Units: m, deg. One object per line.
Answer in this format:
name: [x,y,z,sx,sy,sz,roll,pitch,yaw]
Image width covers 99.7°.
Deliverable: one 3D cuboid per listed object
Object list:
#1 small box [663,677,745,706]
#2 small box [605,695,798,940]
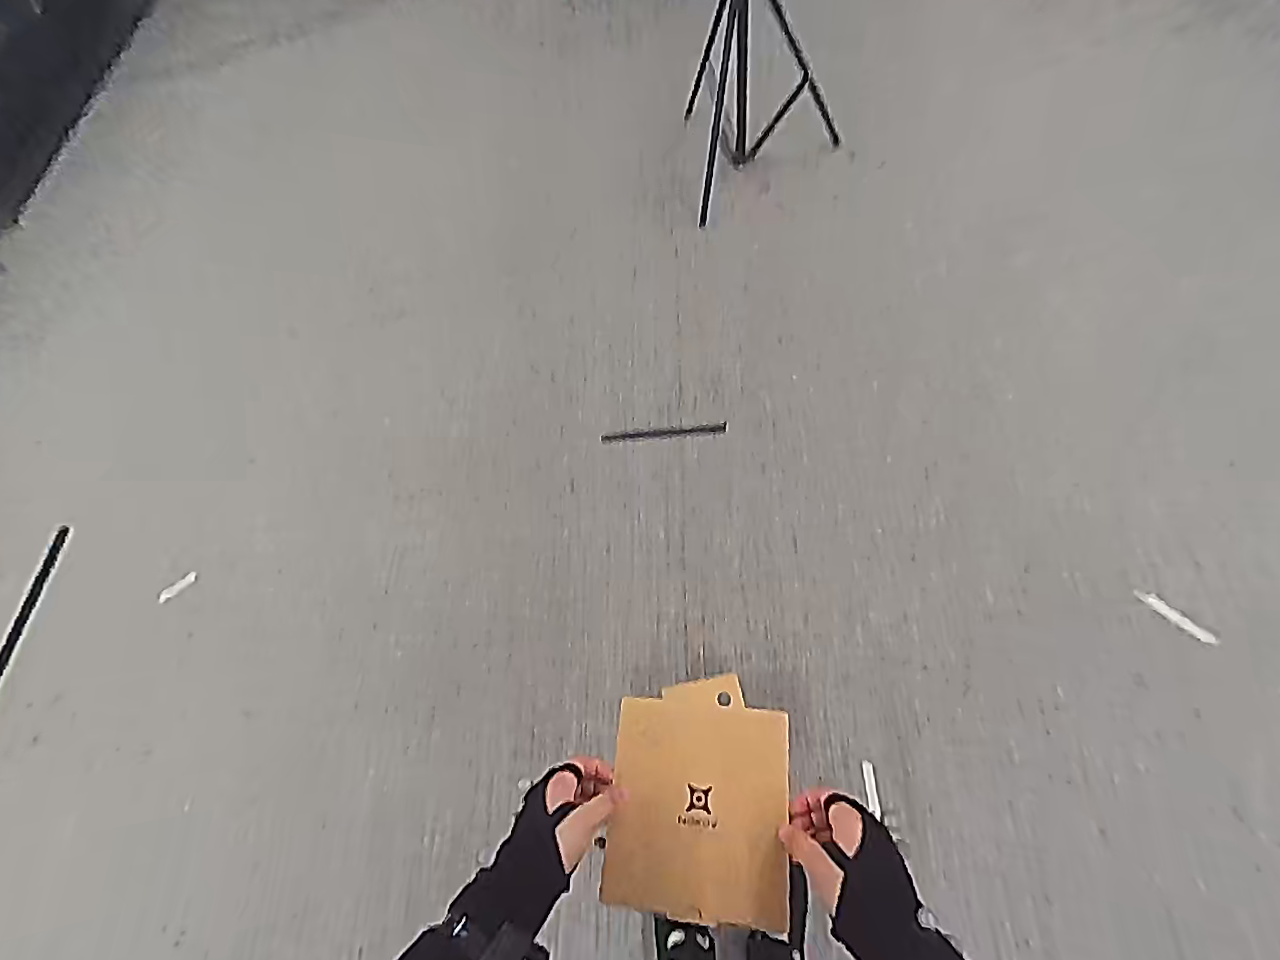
small box: [0.152,0.539,1.169,0.168,0.176,0.179,-14,64,4]
small box: [0.066,0.327,0.560,0.168,0.176,0.179,3,67,8]
